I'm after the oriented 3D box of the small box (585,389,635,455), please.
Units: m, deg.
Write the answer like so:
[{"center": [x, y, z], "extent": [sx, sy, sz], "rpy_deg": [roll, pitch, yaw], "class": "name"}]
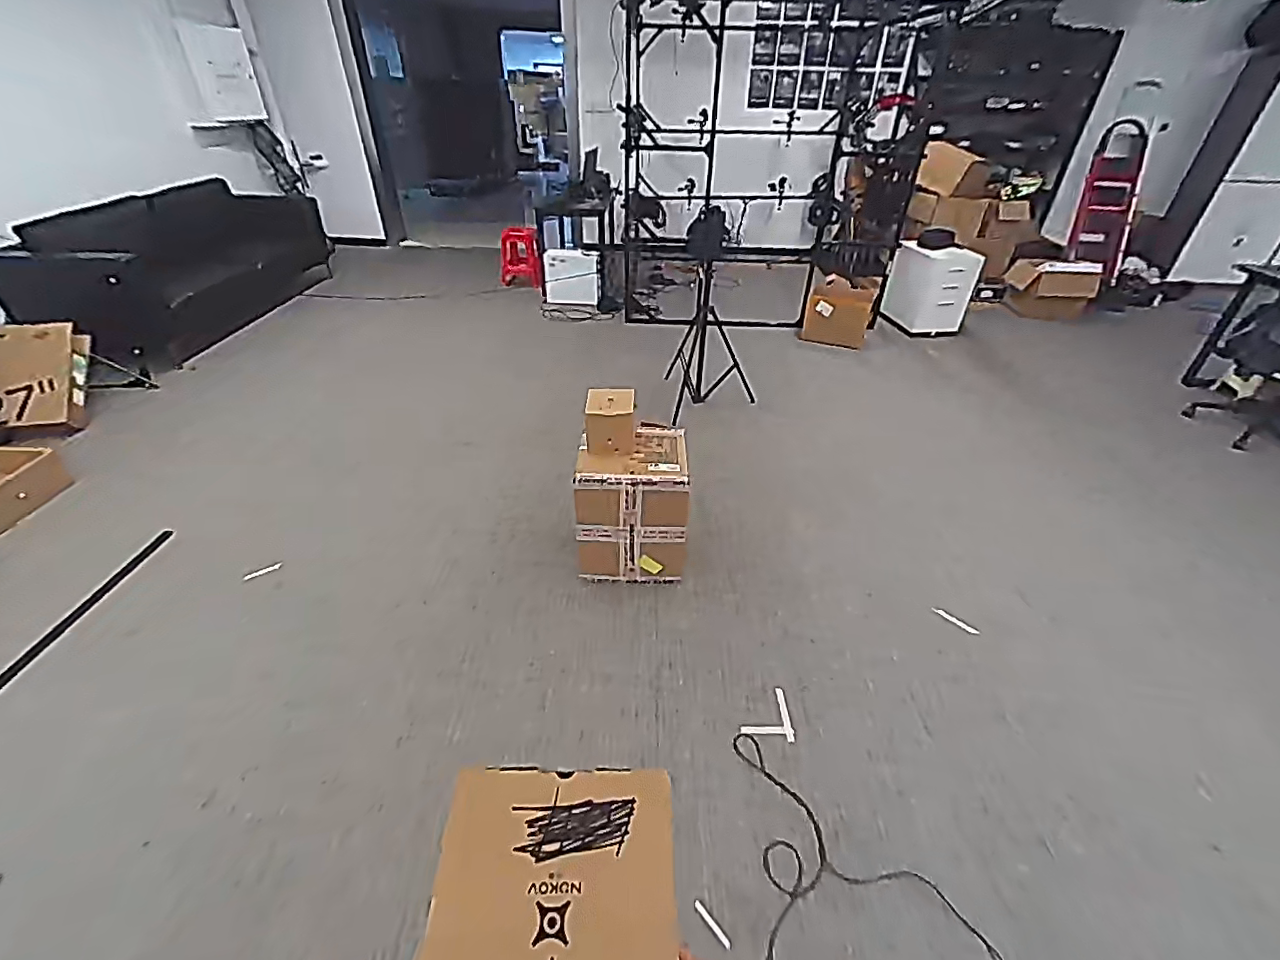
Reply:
[{"center": [-0.103, -0.208, 1.931], "extent": [0.168, 0.176, 0.179], "rpy_deg": [0, 38, 1], "class": "small box"}]
